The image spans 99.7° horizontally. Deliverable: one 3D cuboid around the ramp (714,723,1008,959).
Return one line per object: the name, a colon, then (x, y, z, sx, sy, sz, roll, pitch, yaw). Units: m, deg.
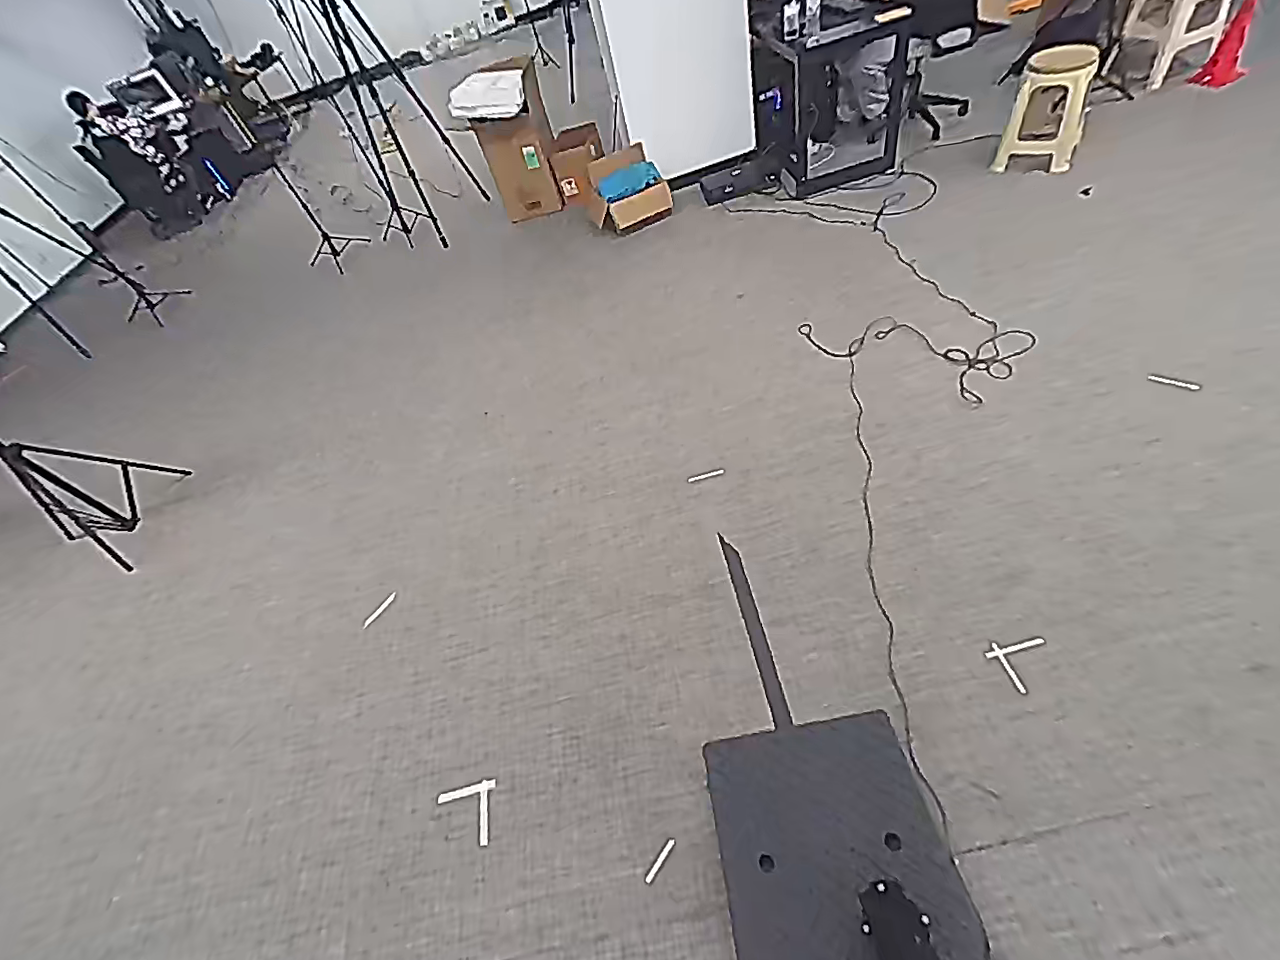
ramp: (0.470, 0.996, 1.038, 0.509, 0.206, 0.991, -18, 46, 5)
